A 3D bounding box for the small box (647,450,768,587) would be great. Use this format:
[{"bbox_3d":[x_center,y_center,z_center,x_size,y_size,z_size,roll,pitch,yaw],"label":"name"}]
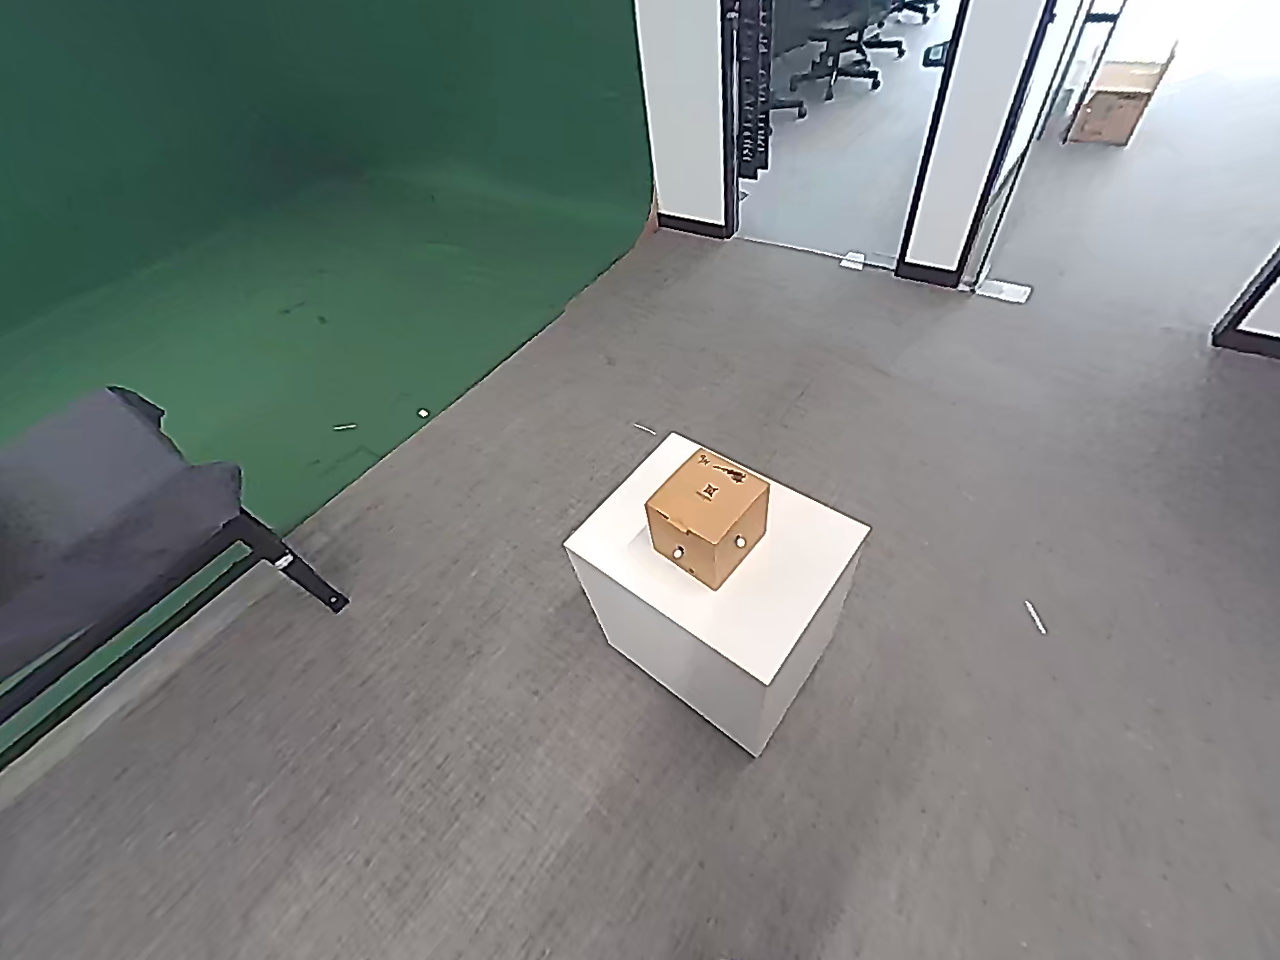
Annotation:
[{"bbox_3d":[0.139,0.079,1.071,0.168,0.176,0.179,29,60,29],"label":"small box"}]
